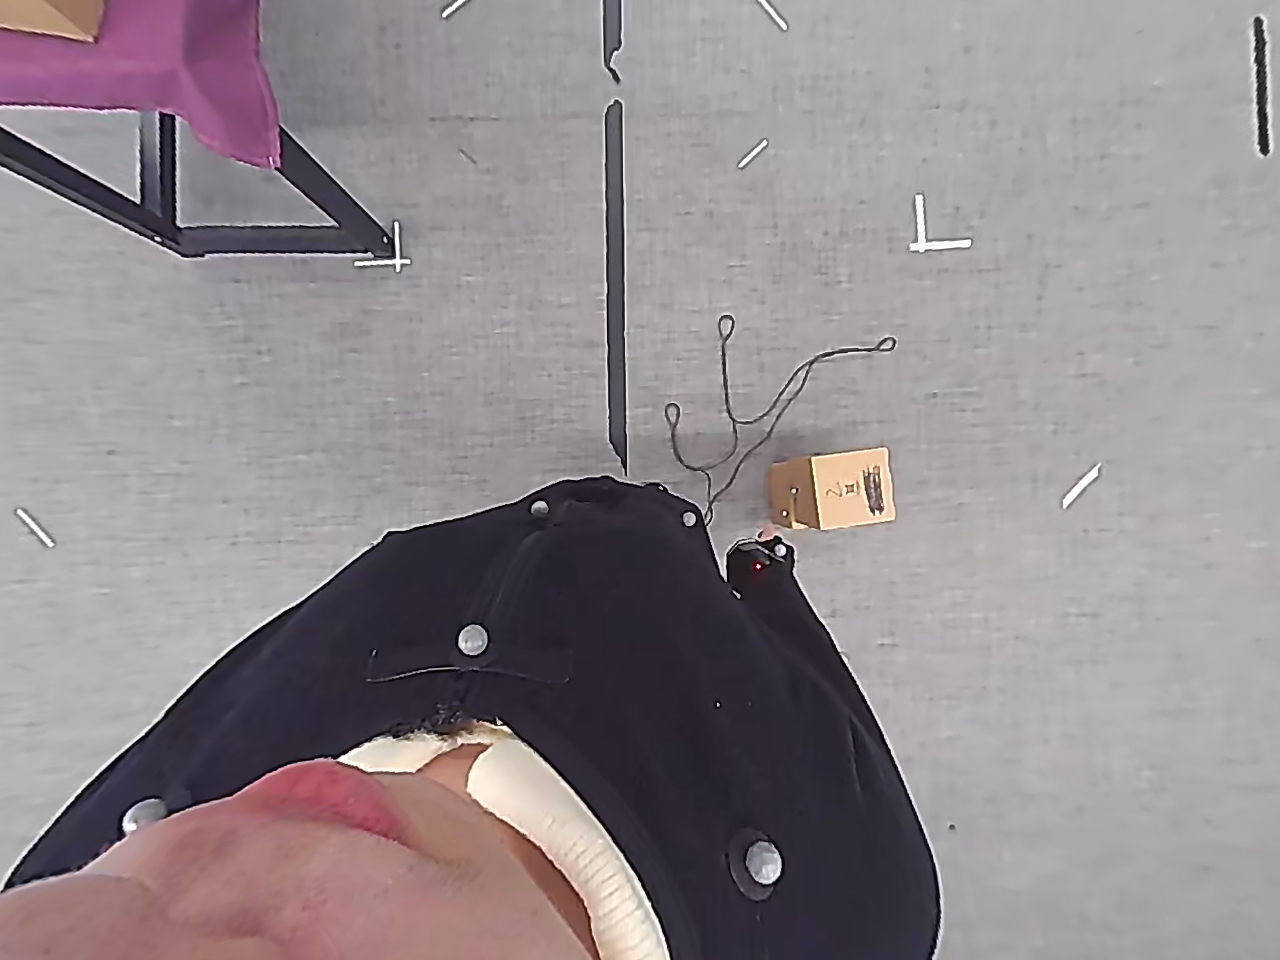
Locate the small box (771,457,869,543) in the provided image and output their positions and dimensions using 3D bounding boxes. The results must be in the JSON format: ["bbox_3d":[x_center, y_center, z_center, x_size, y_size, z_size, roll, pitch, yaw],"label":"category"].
[{"bbox_3d":[0.458,0.049,1.394,0.179,0.176,0.168,-9,110,-19],"label":"small box"}]
